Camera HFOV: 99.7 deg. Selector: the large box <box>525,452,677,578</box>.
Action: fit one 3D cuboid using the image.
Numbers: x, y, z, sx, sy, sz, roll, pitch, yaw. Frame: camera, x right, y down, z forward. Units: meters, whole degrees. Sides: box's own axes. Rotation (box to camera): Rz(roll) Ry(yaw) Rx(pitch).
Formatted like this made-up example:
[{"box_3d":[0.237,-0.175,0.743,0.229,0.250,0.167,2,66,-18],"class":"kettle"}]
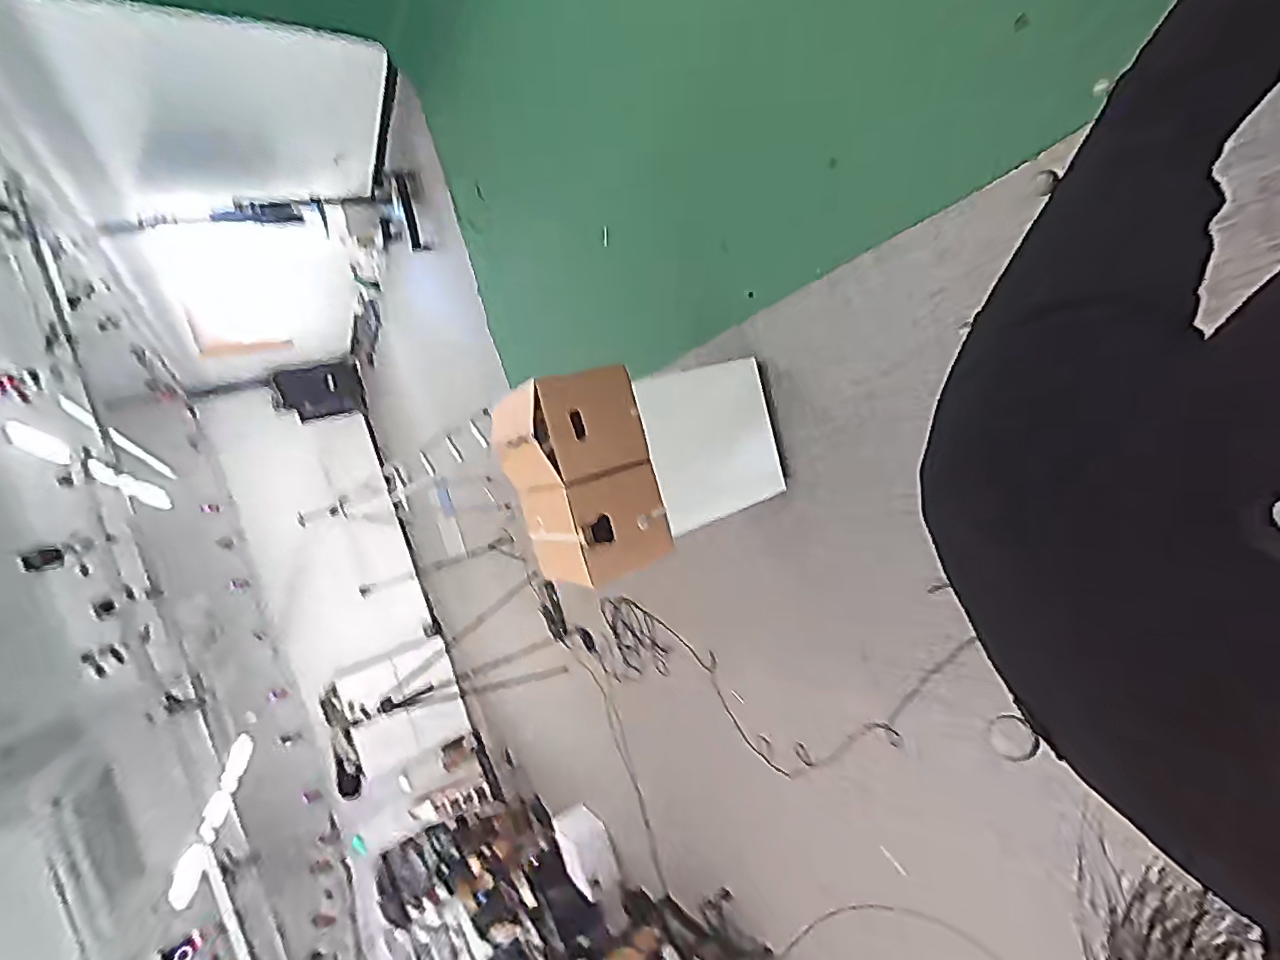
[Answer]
[{"box_3d":[-0.139,0.111,1.797,0.408,0.320,0.320,-6,100,59],"class":"large box"}]
